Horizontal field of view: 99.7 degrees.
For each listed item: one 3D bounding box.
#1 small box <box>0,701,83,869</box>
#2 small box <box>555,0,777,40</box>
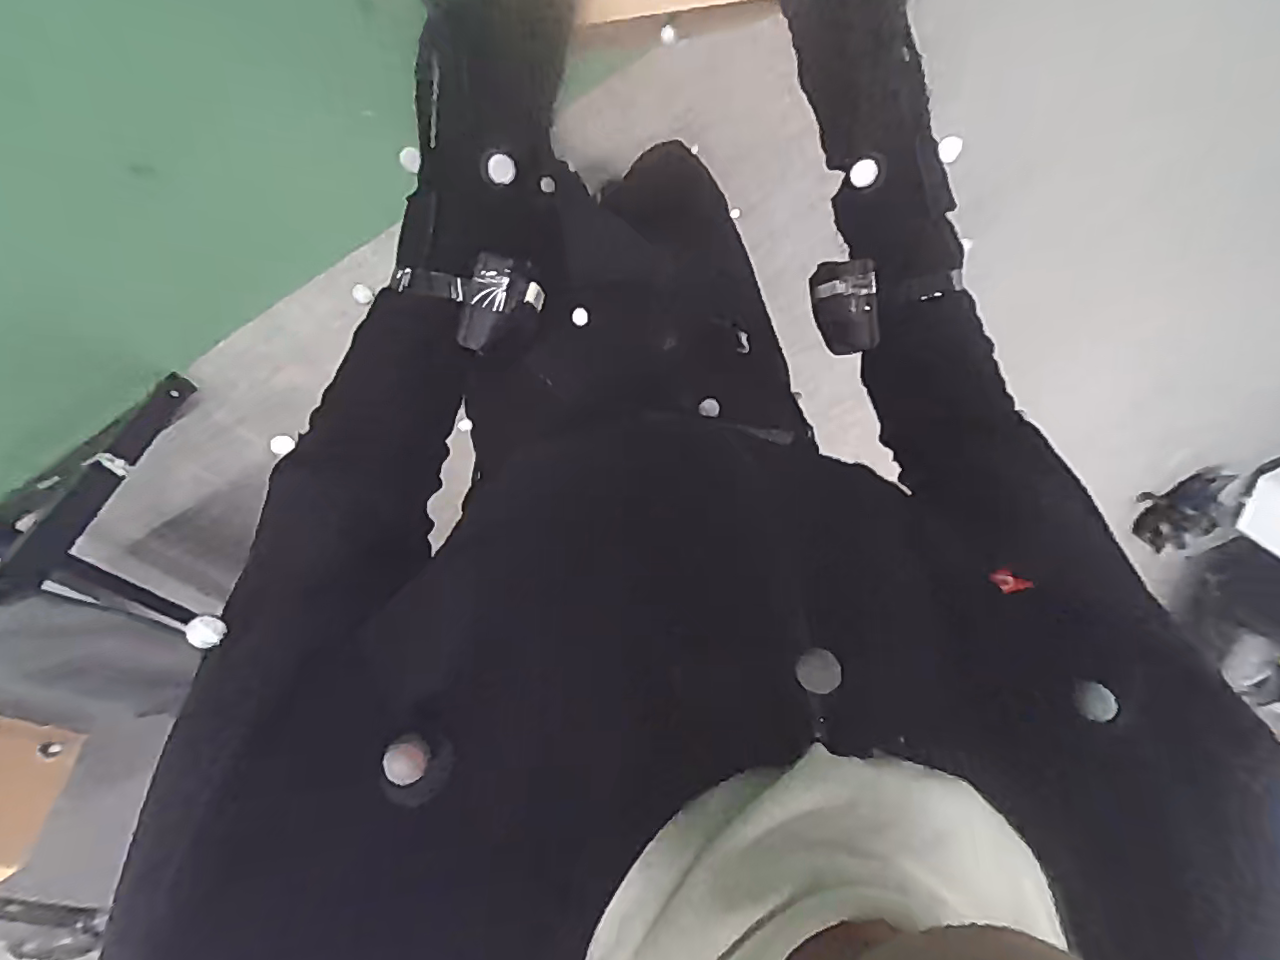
[{"bbox_3d":[-0.881,0.399,0.687,0.179,0.176,0.168,-28,133,9],"label":"small box"},{"bbox_3d":[0.017,-0.410,0.343,0.168,0.176,0.179,-11,125,-4],"label":"small box"}]
